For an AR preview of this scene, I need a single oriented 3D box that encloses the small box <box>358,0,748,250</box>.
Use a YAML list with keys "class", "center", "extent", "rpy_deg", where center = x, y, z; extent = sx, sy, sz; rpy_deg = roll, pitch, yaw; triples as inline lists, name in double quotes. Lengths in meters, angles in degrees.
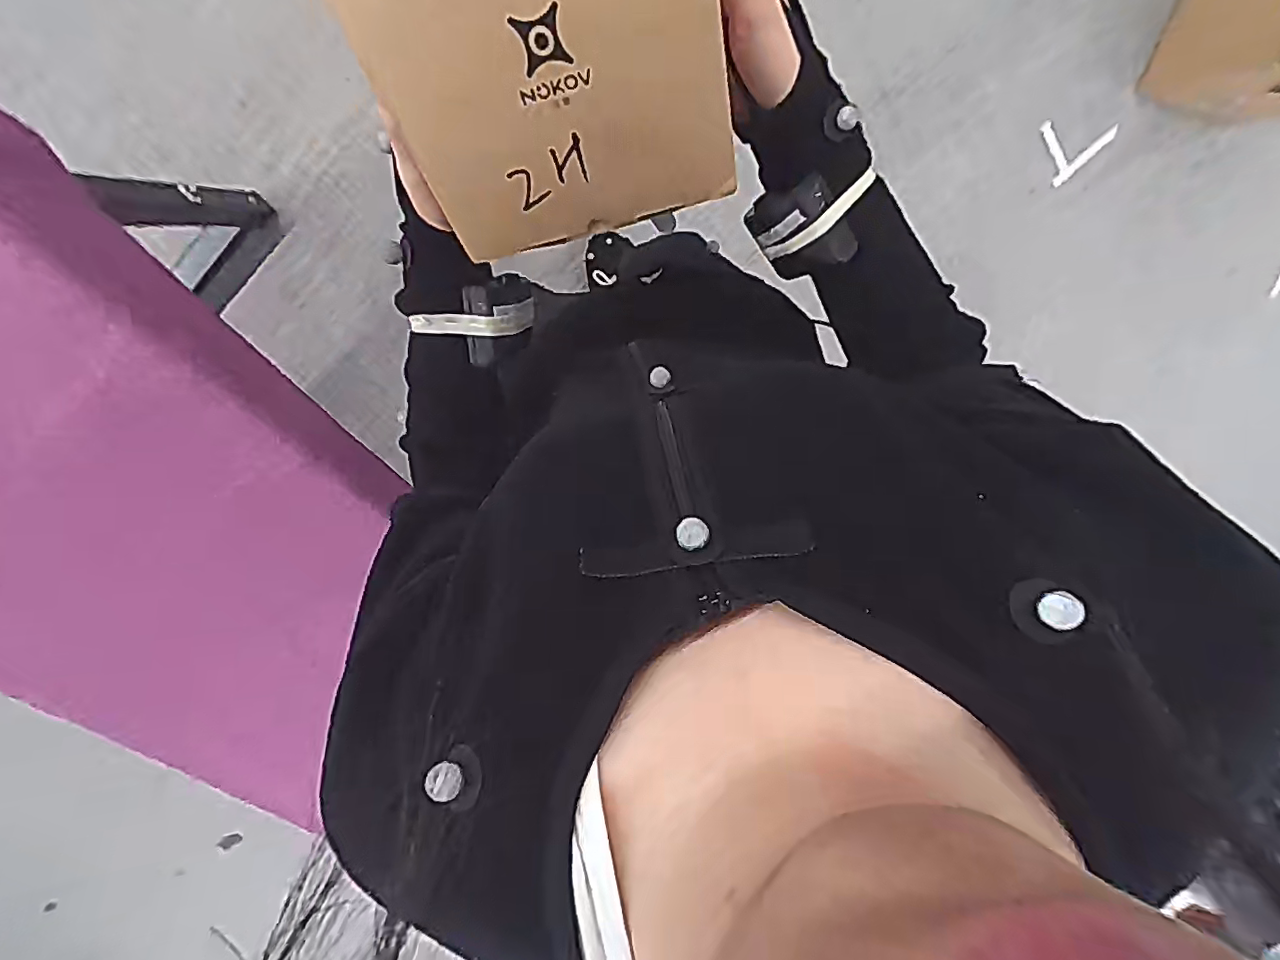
- class: "small box"
  center: [-0.040, -0.266, 0.296]
  extent: [0.168, 0.176, 0.179]
  rpy_deg: [-10, 144, 9]
